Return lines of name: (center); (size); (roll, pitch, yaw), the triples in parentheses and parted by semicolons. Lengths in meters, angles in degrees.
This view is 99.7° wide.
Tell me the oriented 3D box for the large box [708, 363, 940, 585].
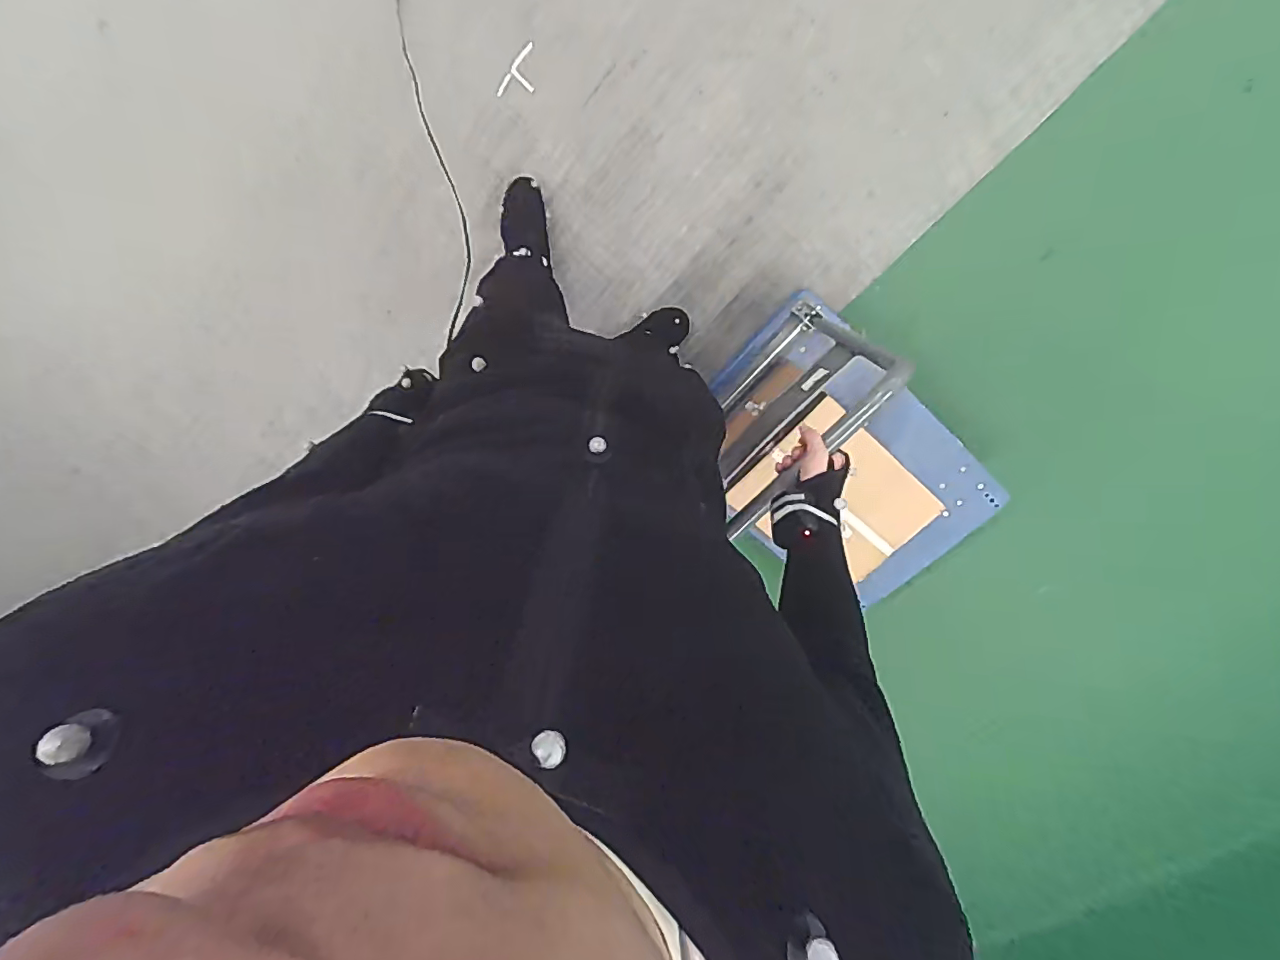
large box: (0.428, -0.024, 1.345); (0.408, 0.320, 0.320); (38, 110, -16)
